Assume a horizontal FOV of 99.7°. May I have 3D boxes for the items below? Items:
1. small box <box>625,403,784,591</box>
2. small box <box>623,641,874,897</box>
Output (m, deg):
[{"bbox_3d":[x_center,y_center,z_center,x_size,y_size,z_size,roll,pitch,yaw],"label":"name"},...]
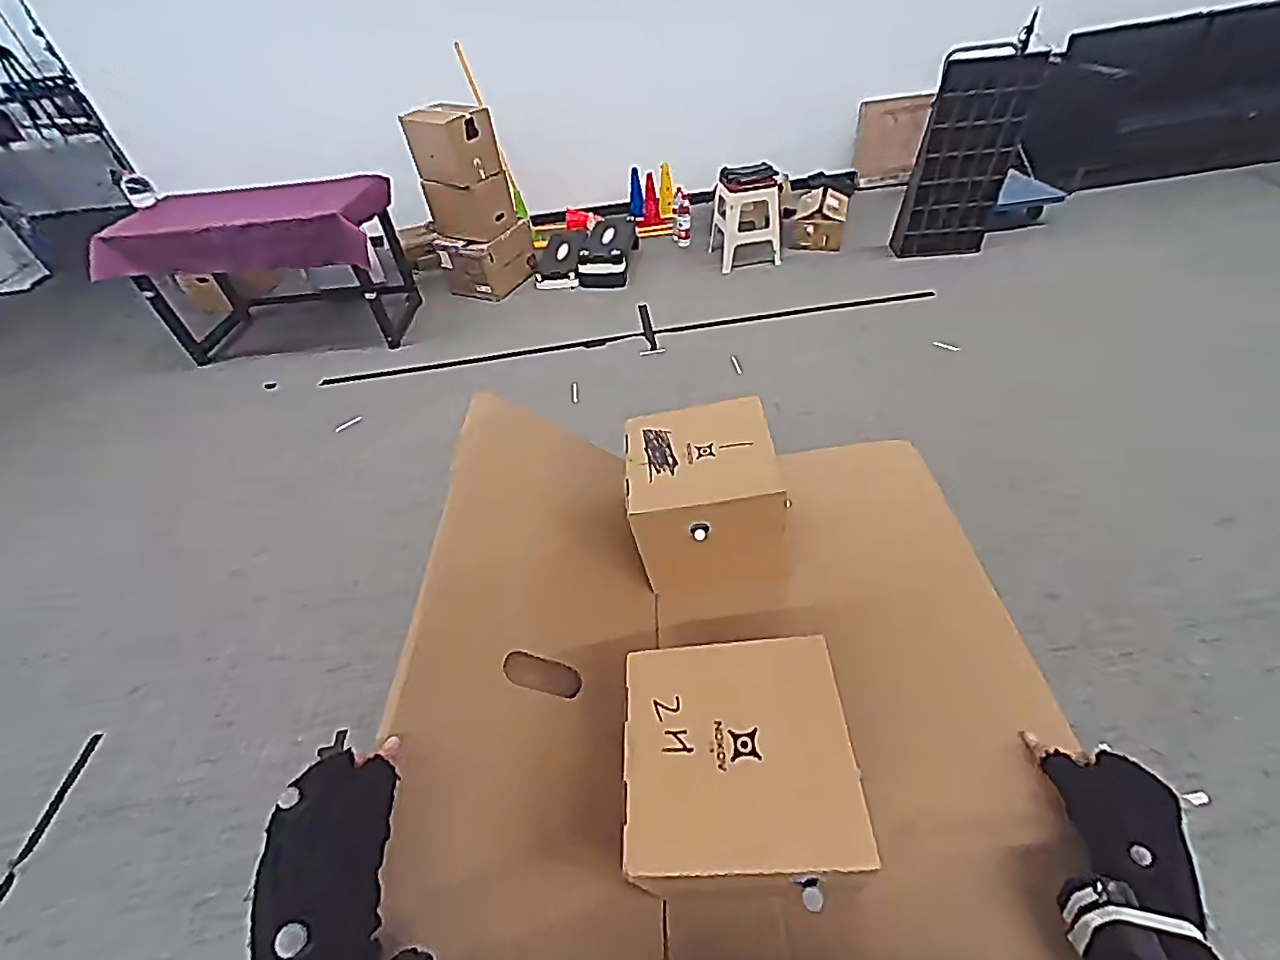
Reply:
[{"bbox_3d":[0.084,0.028,0.704,0.179,0.176,0.168,-9,46,7],"label":"small box"},{"bbox_3d":[0.090,0.262,0.486,0.179,0.176,0.168,-8,47,9],"label":"small box"}]
